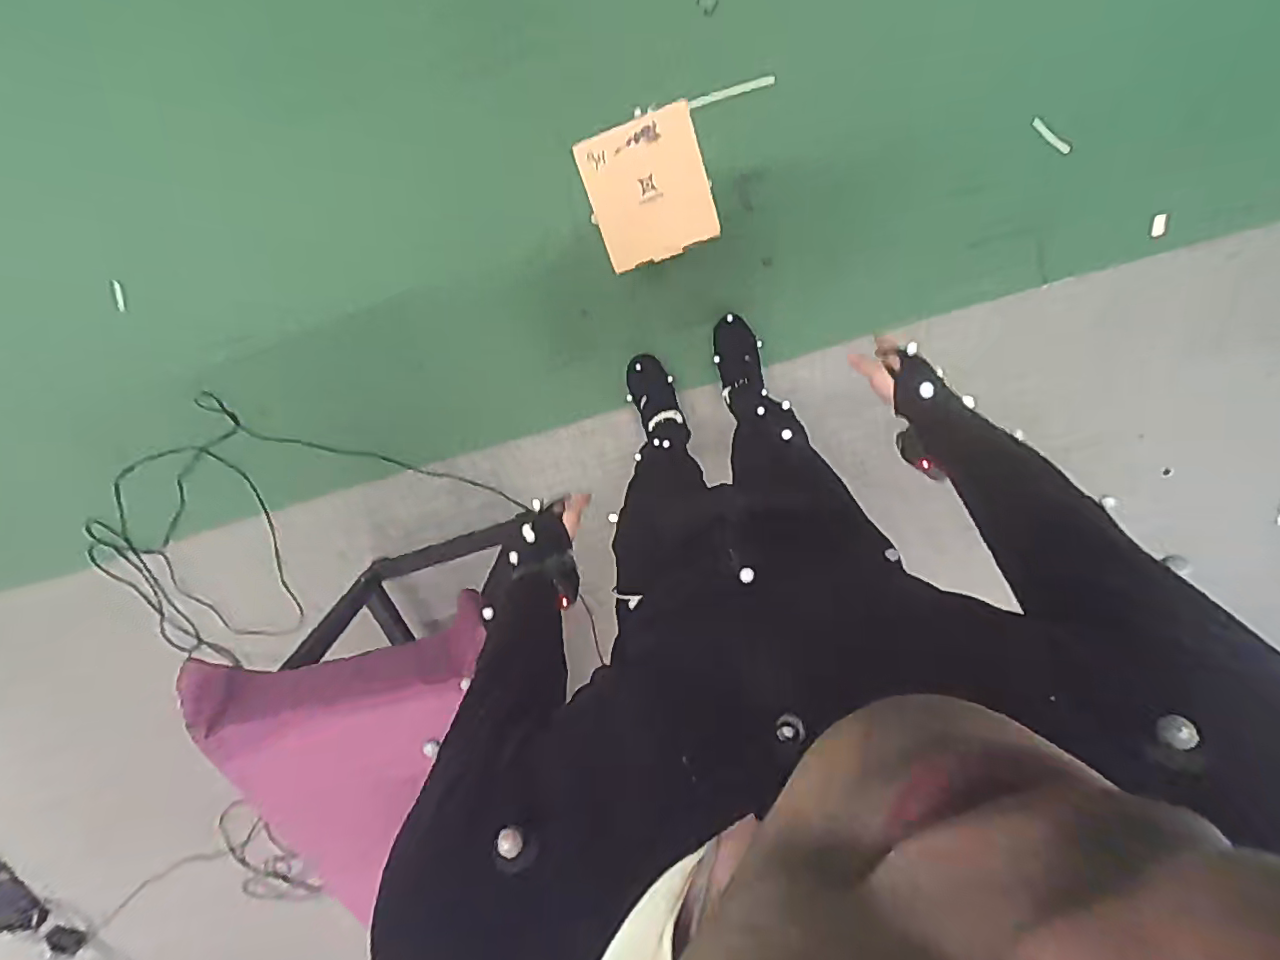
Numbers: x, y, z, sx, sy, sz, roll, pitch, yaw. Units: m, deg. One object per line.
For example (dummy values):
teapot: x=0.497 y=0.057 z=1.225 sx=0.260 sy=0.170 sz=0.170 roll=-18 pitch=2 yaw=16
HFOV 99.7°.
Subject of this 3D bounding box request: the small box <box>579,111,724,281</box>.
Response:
small box: x=0.022 y=-0.426 z=0.833 sx=0.168 sy=0.176 sz=0.179 roll=-17 pitch=112 yaw=9
